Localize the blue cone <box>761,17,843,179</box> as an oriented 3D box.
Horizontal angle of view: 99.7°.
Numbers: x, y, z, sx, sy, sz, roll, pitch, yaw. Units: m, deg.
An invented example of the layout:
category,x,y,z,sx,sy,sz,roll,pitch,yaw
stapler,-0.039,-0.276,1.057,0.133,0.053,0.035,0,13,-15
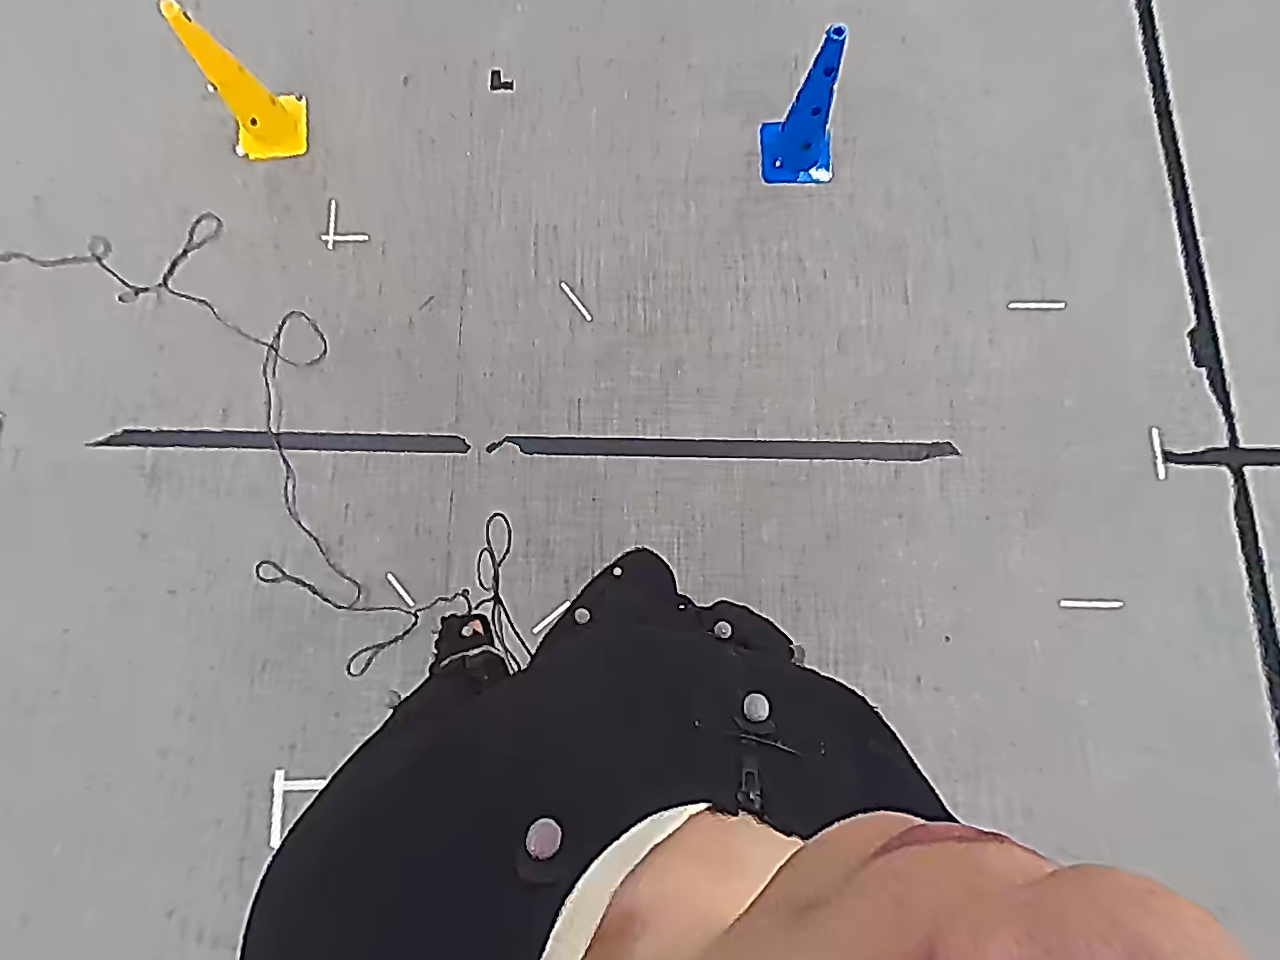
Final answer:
category,x,y,z,sx,sy,sz,roll,pitch,yaw
blue cone,0.443,-0.978,1.391,0.193,0.380,0.192,1,79,1
